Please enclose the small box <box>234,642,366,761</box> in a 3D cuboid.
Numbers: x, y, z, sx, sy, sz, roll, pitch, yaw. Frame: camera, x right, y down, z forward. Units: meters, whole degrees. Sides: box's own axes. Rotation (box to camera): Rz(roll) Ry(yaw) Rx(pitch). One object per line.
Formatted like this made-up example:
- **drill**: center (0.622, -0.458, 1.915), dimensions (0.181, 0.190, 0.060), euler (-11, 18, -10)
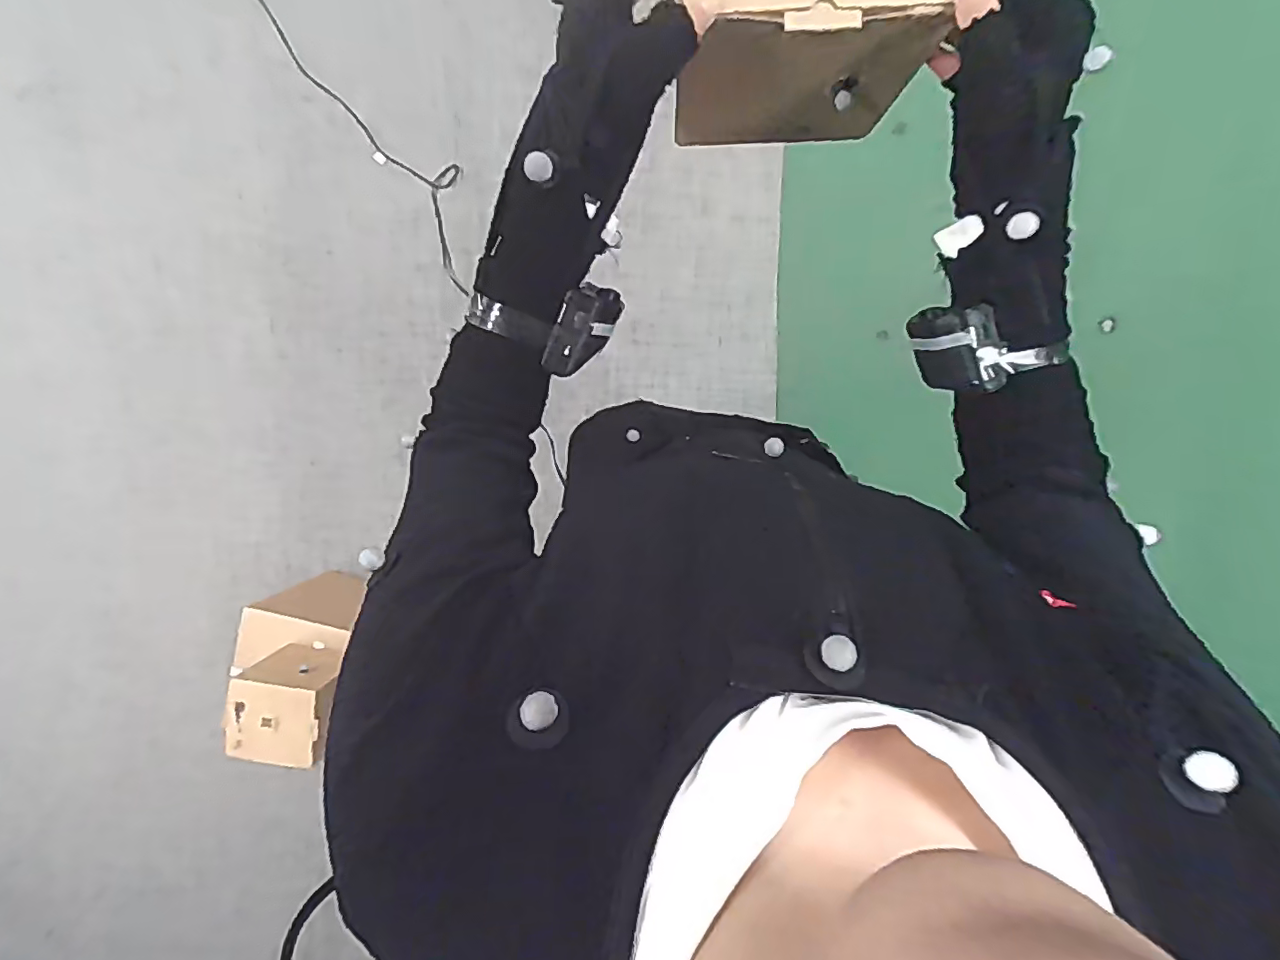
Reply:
- **small box**: center (-0.708, 0.459, 1.144), dimensions (0.179, 0.176, 0.168), euler (8, 96, 1)
